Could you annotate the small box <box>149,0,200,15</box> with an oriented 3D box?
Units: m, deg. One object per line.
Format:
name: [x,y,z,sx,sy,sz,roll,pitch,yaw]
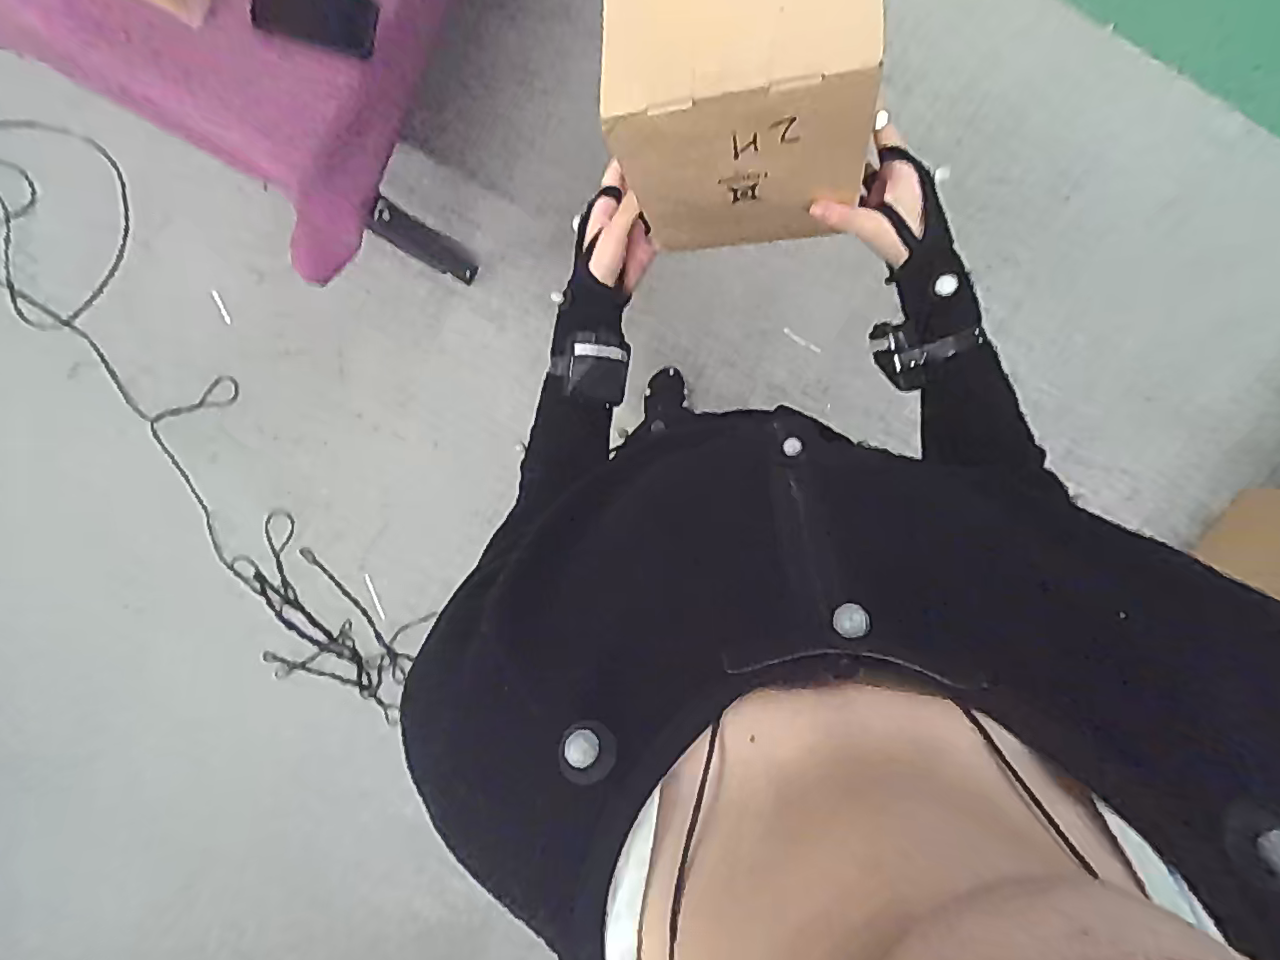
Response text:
small box: [-0.589,-0.666,0.584,0.179,0.176,0.168,28,98,-3]

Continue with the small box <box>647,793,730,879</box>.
small box: [0.133,1.043,1.553,0.179,0.176,0.168,29,98,-4]

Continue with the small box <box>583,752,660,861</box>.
small box: [-0.050,0.921,1.537,0.168,0.176,0.179,19,97,-4]

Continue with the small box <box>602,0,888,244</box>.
small box: [0.081,-0.302,0.395,0.168,0.179,0.176,0,84,16]

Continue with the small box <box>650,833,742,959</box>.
small box: [0.138,1.069,1.391,0.168,0.176,0.179,30,98,-4]
